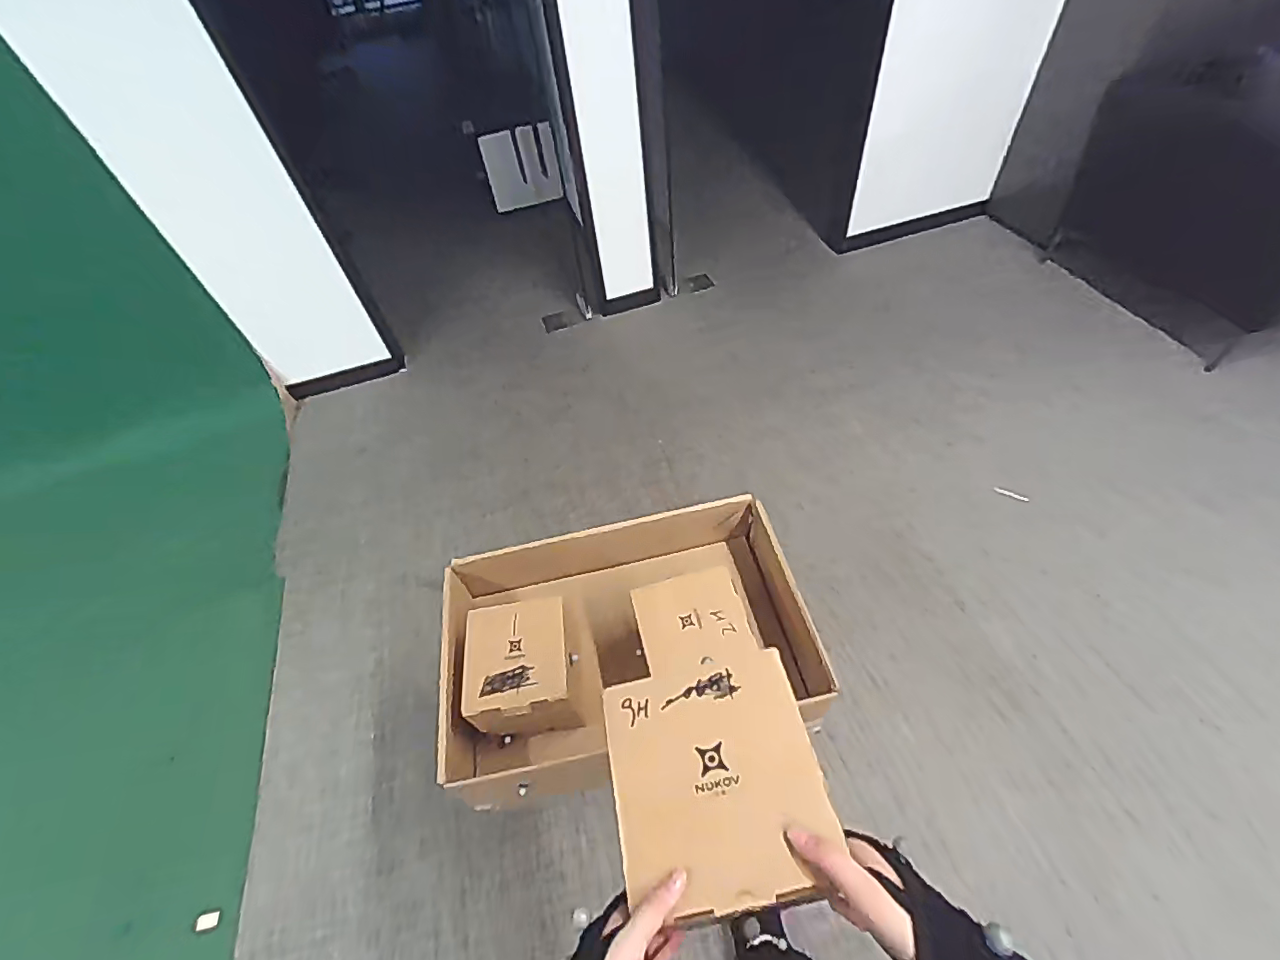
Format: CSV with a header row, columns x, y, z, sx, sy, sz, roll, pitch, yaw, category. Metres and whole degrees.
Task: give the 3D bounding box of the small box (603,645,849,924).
x,y,z,sx,sy,sz,roll,pitch,yaw,category
0.072,0.282,0.500,0.168,0.176,0.179,-14,49,0,small box
